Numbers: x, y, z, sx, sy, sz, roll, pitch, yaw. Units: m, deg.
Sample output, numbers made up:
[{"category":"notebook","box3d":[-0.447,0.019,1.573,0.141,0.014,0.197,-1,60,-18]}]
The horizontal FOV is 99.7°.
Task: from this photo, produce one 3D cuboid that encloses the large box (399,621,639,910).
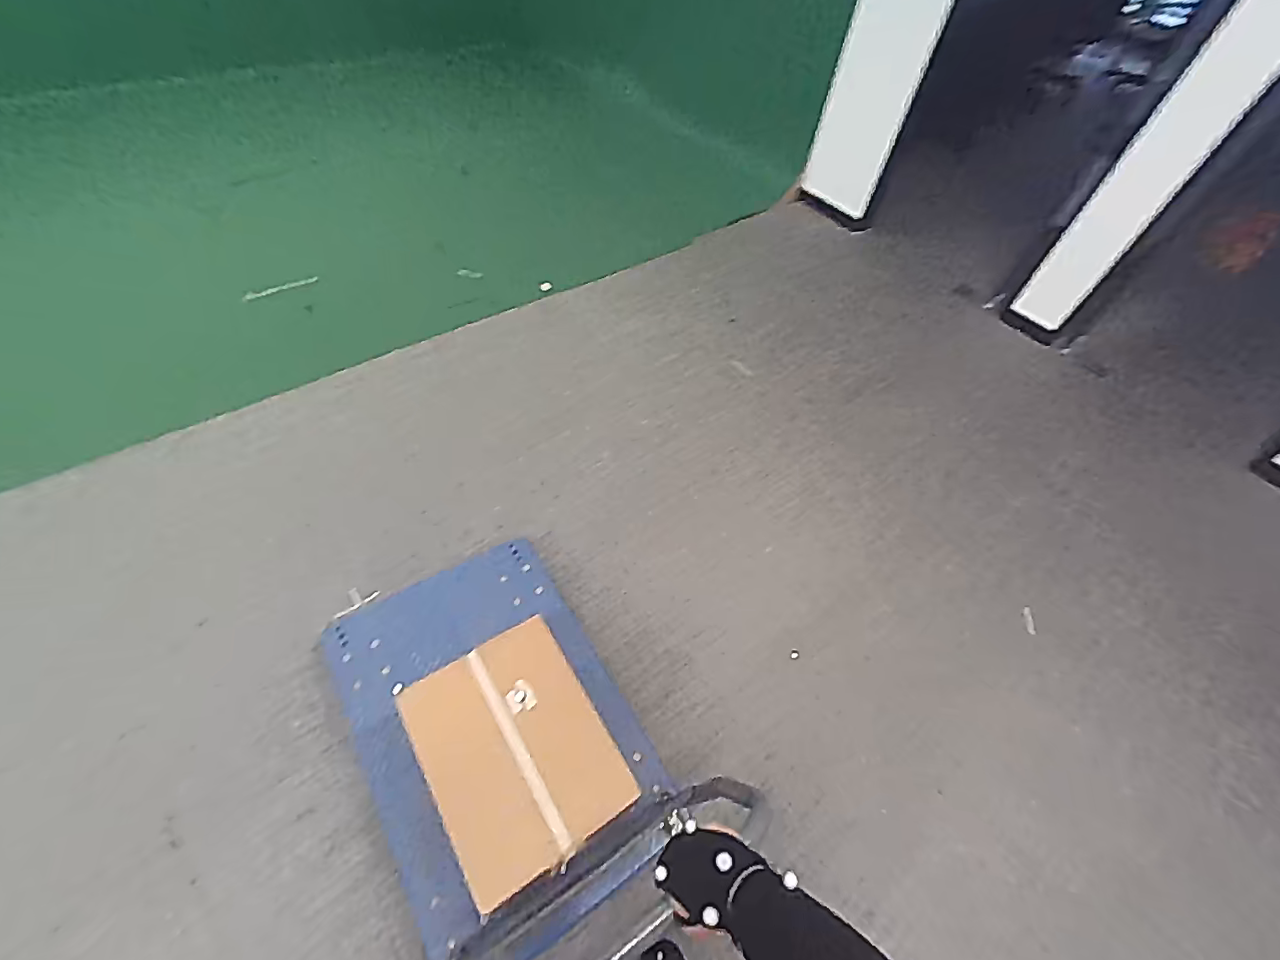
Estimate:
[{"category":"large box","box3d":[-0.244,0.588,1.136,0.320,0.320,0.408,-25,59,-23]}]
